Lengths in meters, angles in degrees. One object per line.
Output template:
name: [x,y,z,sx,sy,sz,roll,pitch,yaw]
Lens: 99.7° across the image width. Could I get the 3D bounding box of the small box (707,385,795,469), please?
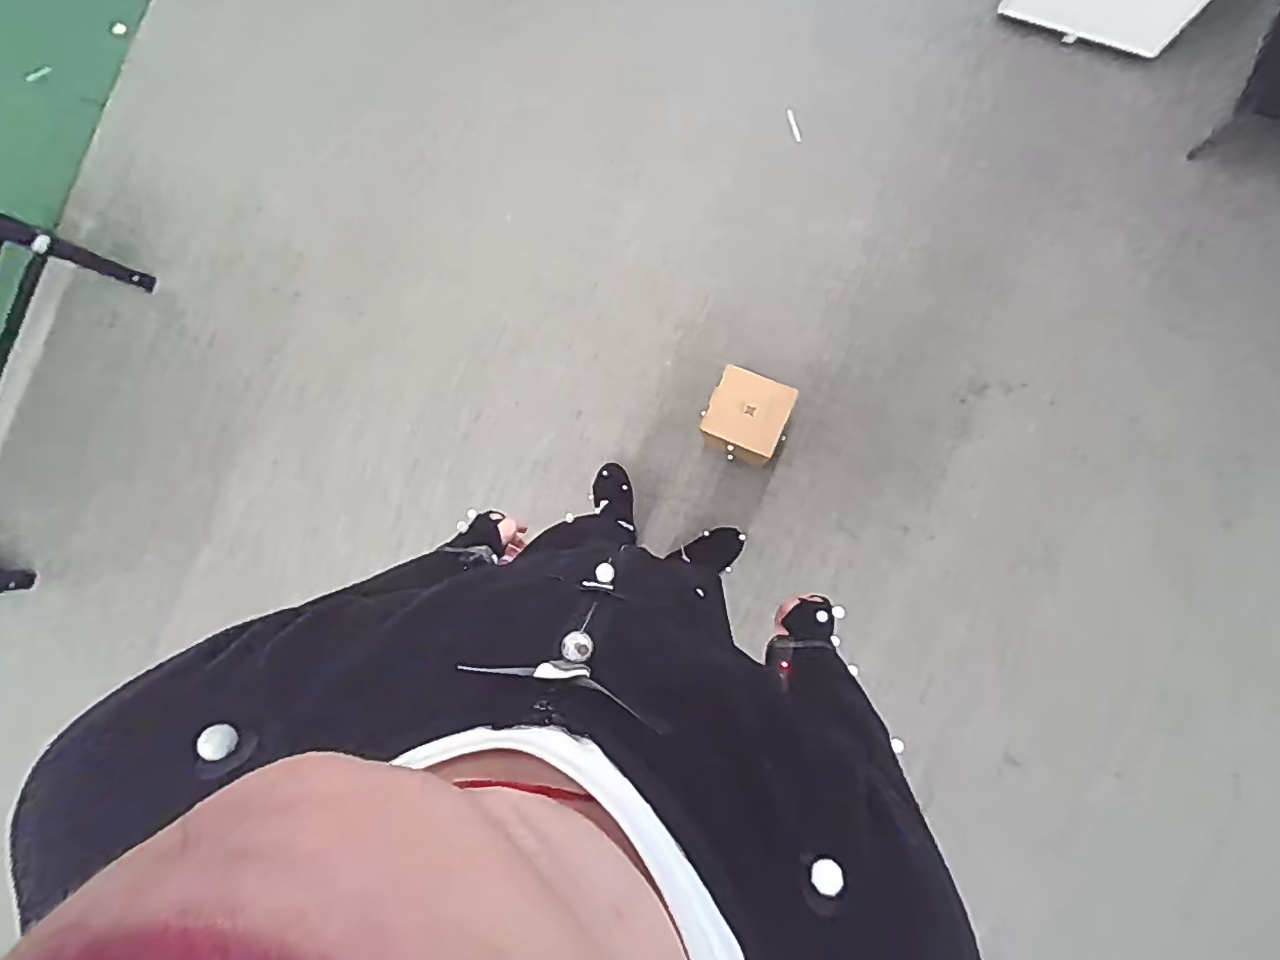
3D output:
small box: [0.295,-0.136,1.460,0.179,0.176,0.168,25,91,9]
